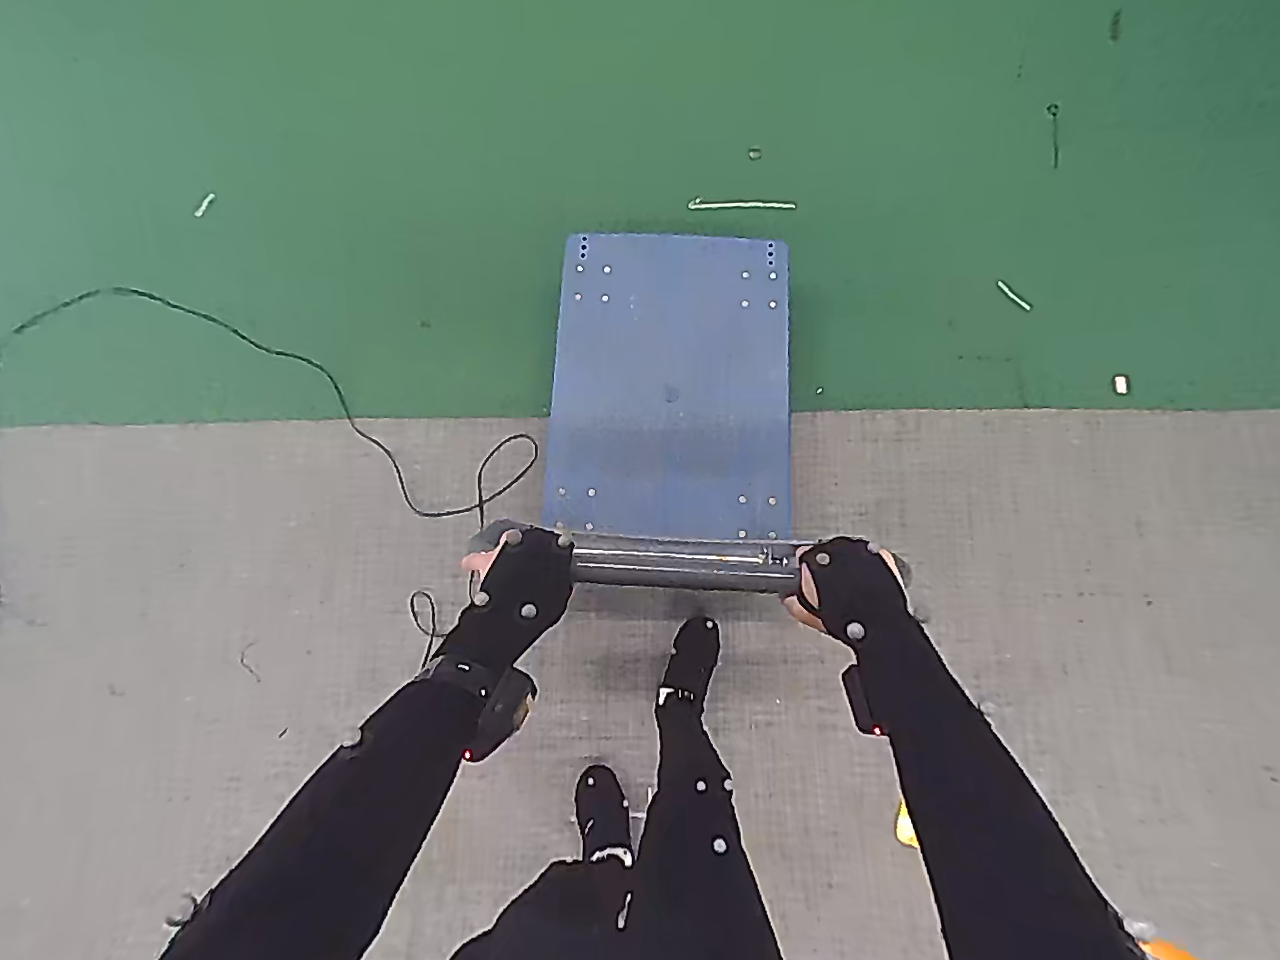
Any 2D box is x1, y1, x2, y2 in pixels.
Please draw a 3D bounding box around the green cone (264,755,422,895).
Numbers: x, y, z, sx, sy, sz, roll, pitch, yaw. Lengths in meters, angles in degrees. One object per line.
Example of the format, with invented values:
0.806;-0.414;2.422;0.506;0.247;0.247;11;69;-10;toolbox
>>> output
-0.619;0.728;1.109;0.202;0.368;0.200;-5;78;1;green cone
